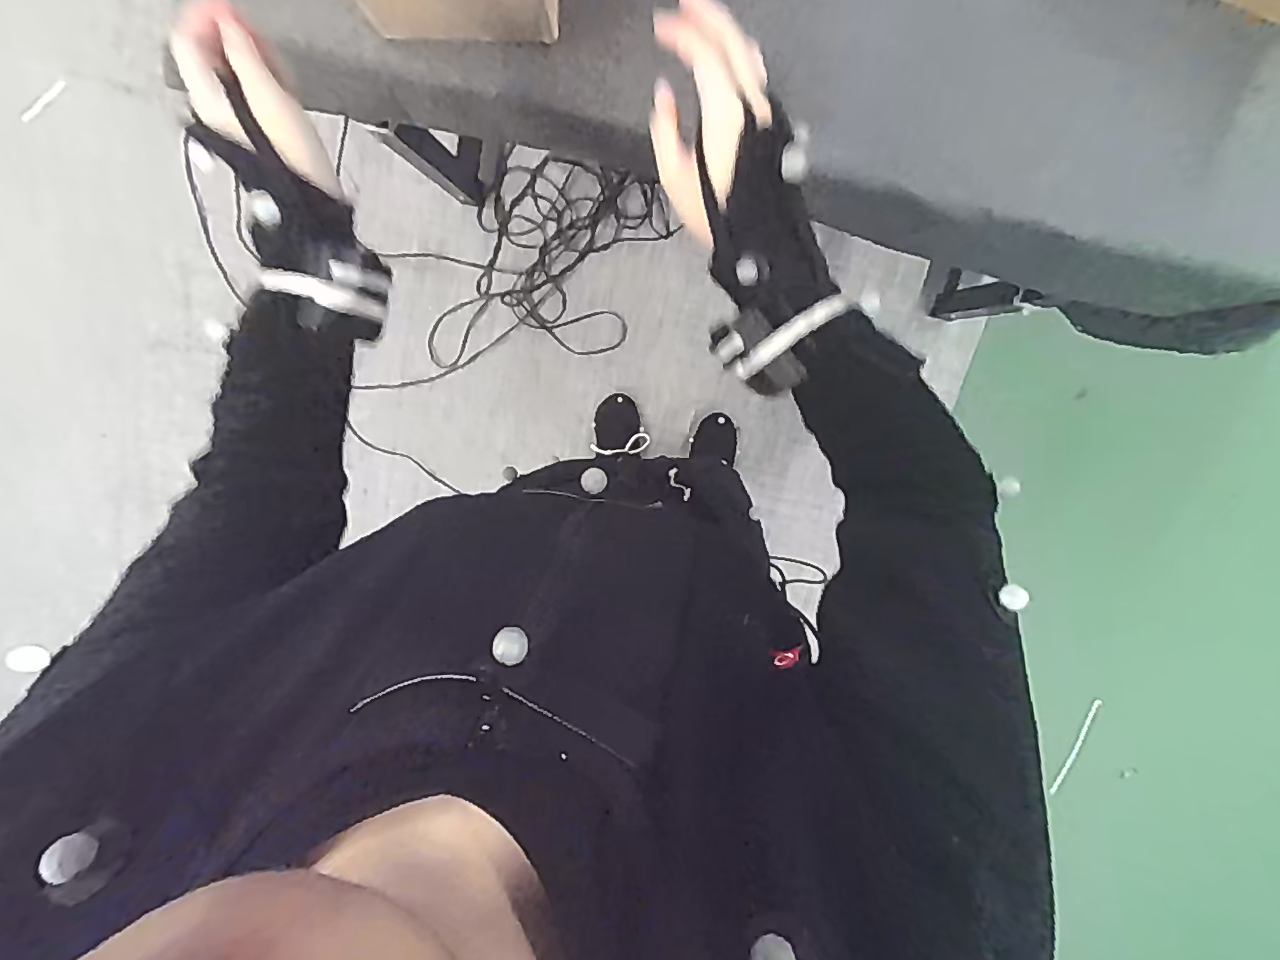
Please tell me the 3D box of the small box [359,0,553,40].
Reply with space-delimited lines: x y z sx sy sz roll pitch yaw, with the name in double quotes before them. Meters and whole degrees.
"small box" -0.164 -0.494 0.434 0.179 0.176 0.168 3 101 1
